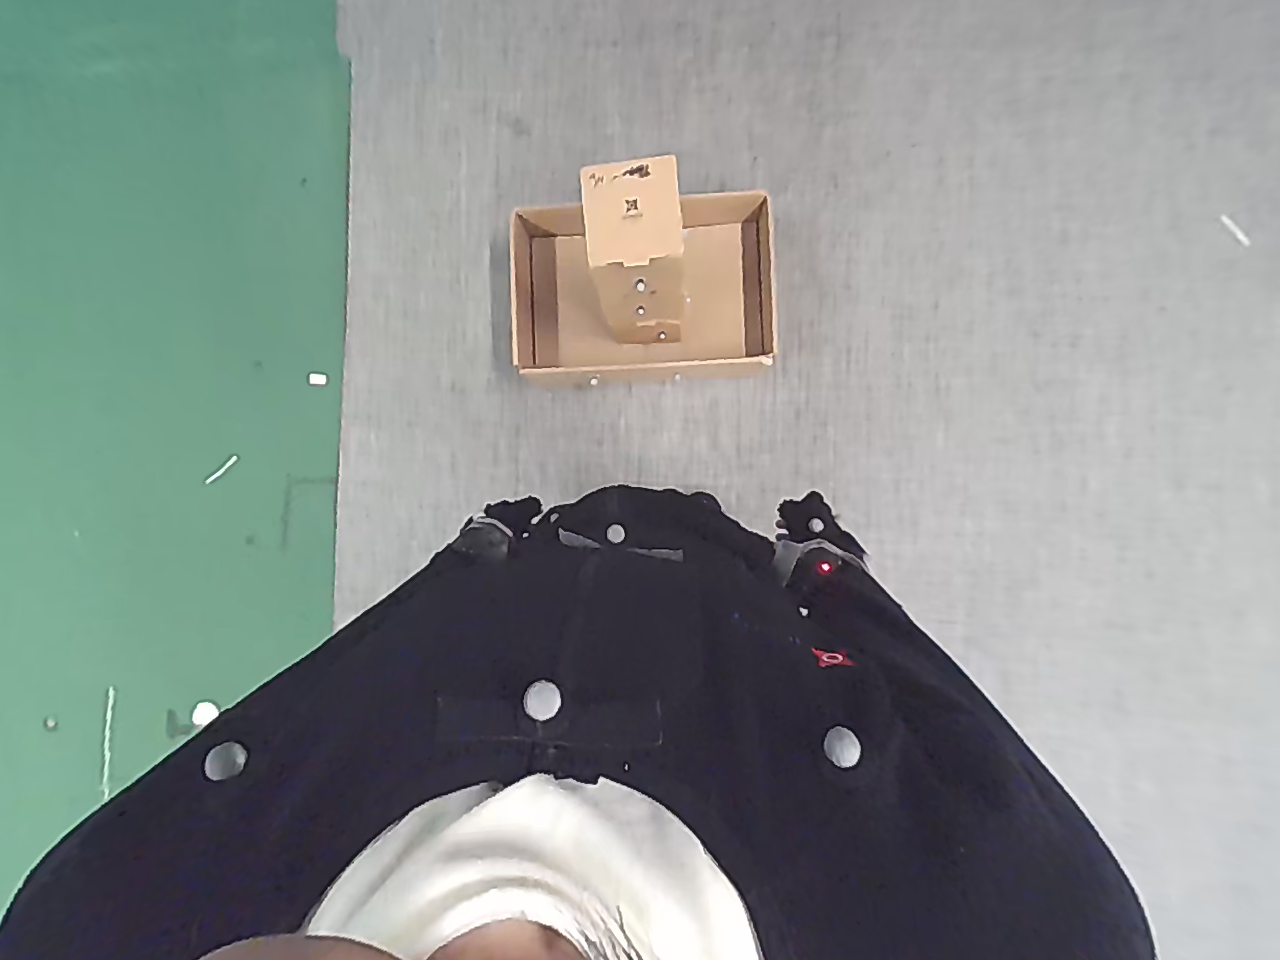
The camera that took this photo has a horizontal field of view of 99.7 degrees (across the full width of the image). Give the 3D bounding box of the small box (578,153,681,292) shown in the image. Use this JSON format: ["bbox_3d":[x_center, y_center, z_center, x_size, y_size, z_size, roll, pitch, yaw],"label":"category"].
[{"bbox_3d":[-0.012,-0.459,0.996,0.168,0.176,0.179,-5,89,4],"label":"small box"}]

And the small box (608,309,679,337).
[{"bbox_3d":[0.013,-0.455,1.322,0.168,0.176,0.179,-1,88,4],"label":"small box"}]

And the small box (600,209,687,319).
[{"bbox_3d":[0.004,-0.455,1.159,0.179,0.176,0.168,-6,89,3],"label":"small box"}]
